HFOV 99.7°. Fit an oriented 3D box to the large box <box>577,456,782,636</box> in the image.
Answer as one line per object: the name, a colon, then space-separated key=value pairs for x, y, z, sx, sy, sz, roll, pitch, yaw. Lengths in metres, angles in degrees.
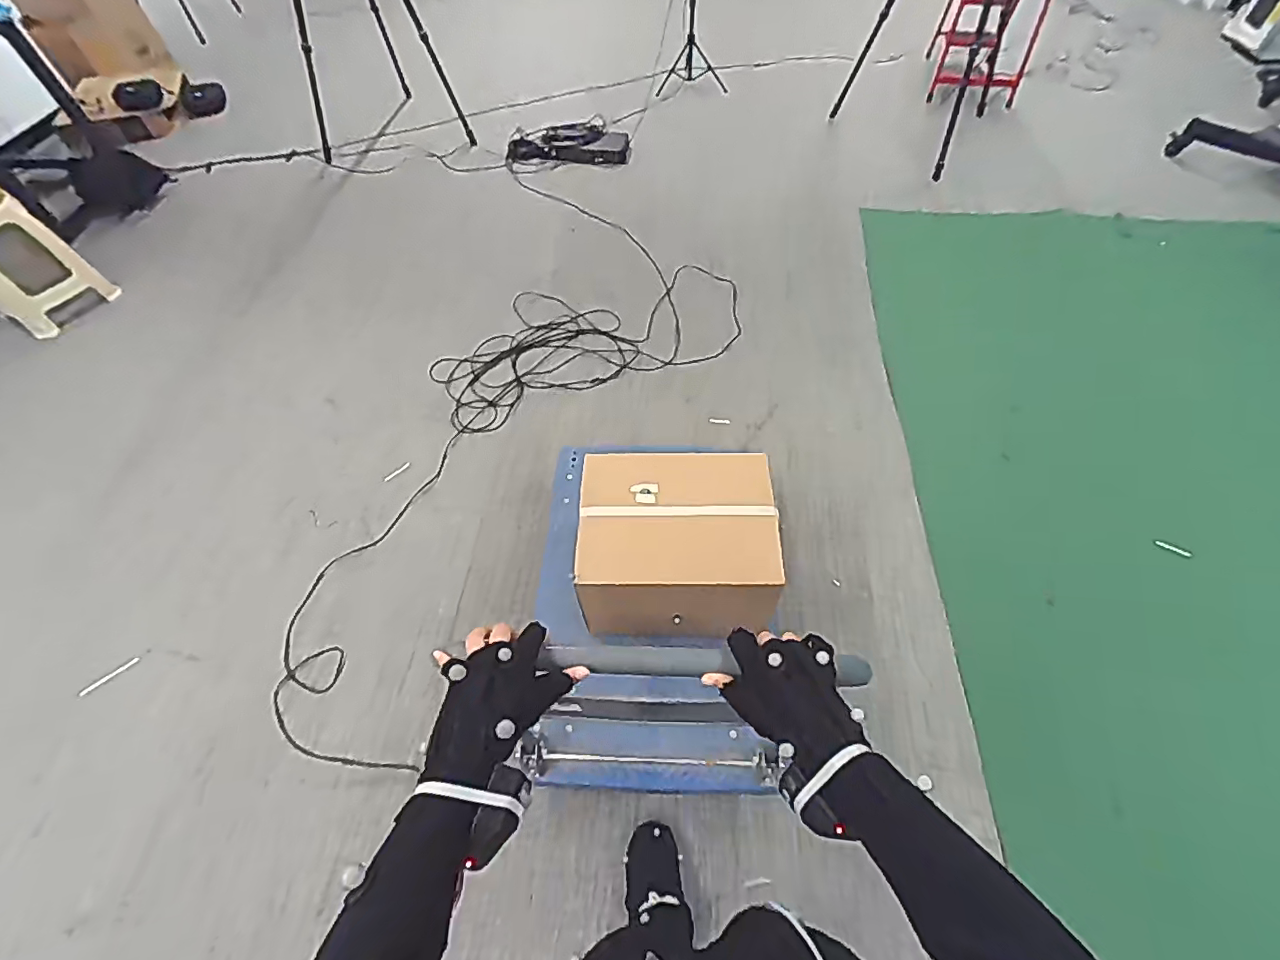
large box: x=0.086 y=0.162 z=1.248 sx=0.408 sy=0.320 sz=0.320 roll=-1 pitch=55 yaw=3
